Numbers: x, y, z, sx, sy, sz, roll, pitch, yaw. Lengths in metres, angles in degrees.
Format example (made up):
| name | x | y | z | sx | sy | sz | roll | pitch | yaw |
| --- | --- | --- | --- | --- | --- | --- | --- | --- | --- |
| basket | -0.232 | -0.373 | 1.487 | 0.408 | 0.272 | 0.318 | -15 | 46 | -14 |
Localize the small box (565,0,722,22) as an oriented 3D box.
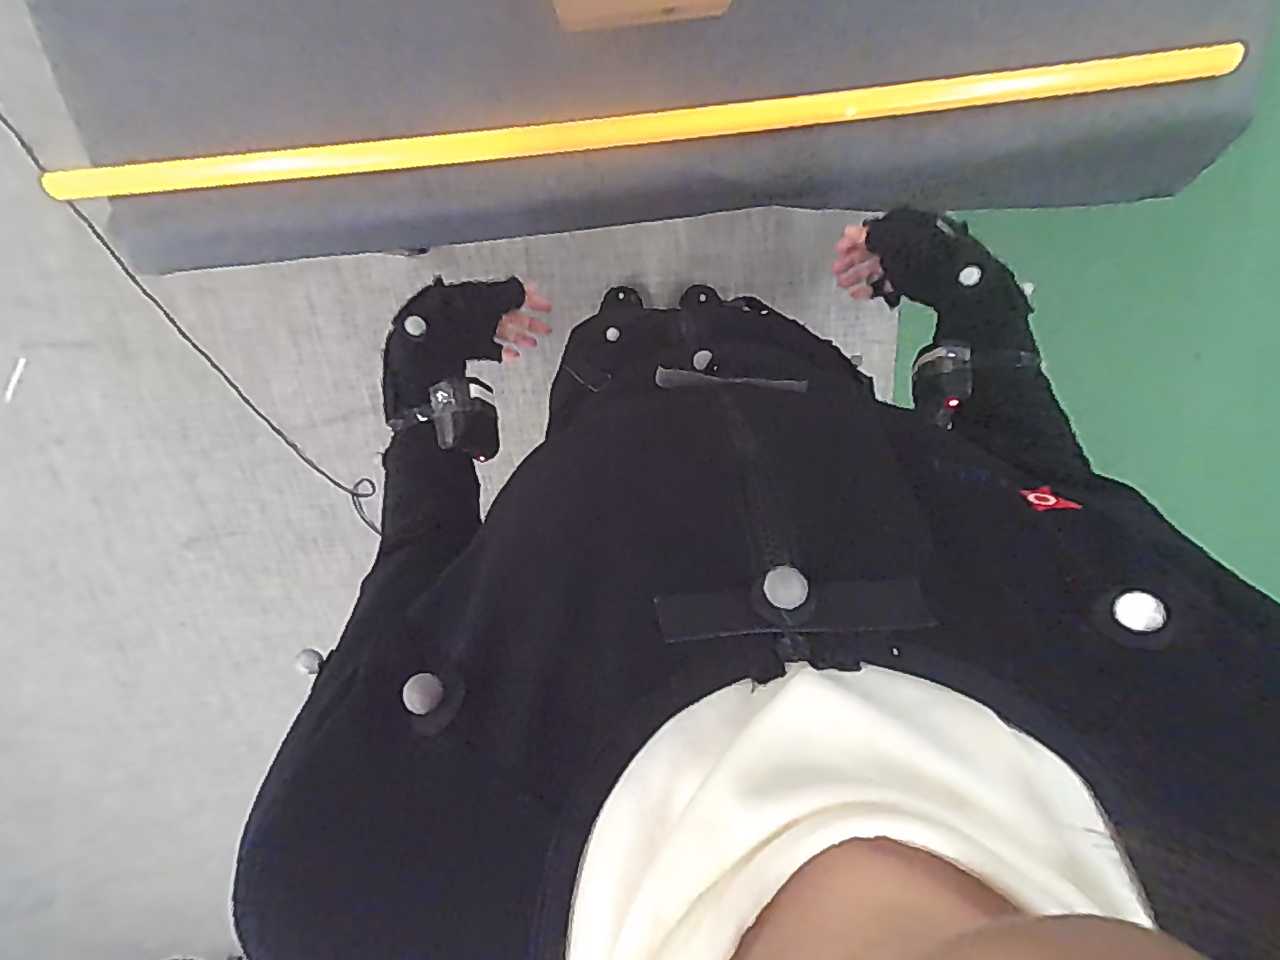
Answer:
| name | x | y | z | sx | sy | sz | roll | pitch | yaw |
| --- | --- | --- | --- | --- | --- | --- | --- | --- | --- |
| small box | -0.002 | -0.515 | 0.429 | 0.168 | 0.176 | 0.179 | -5 | 110 | 3 |
